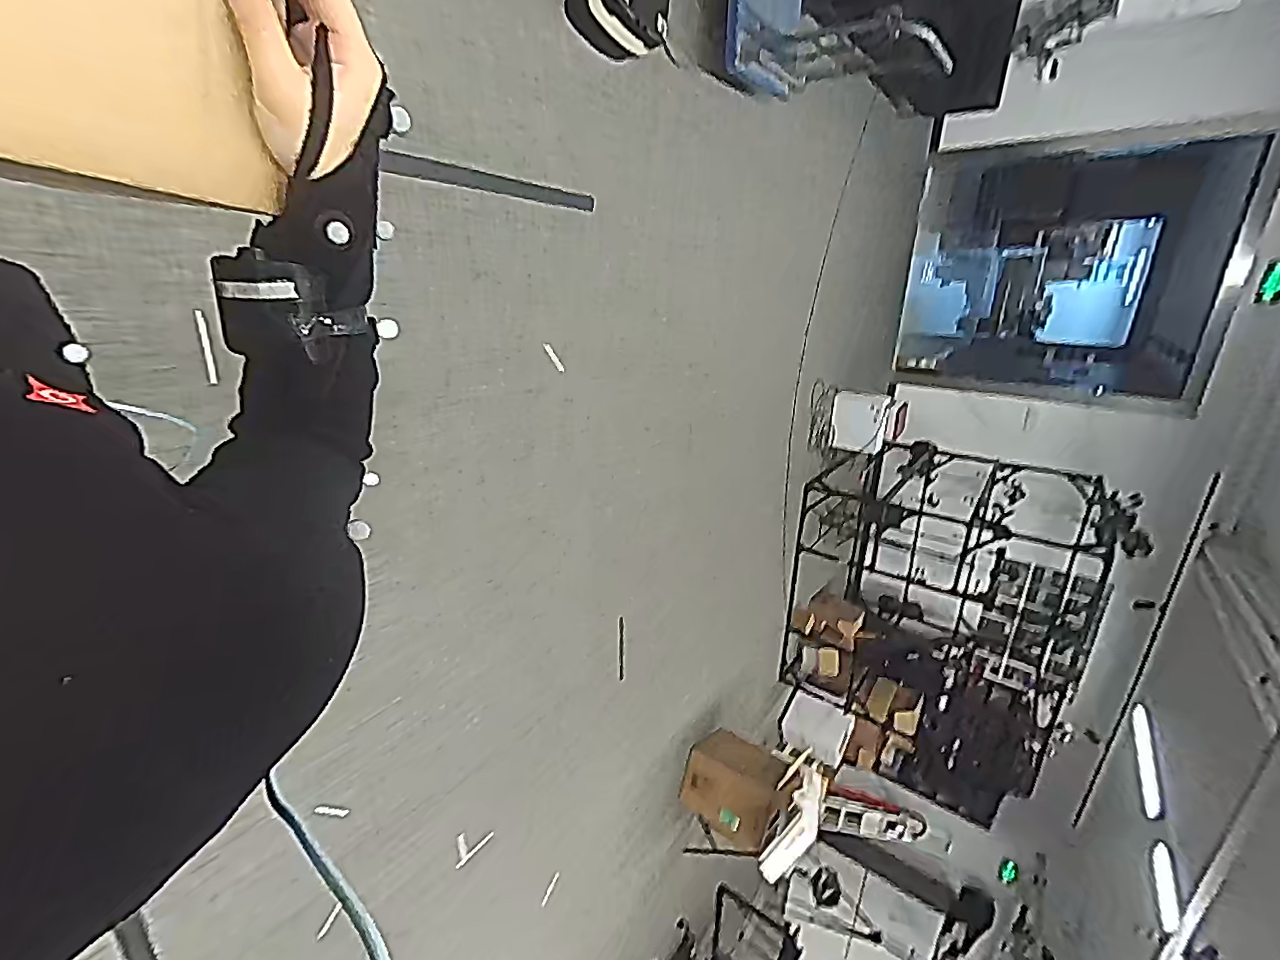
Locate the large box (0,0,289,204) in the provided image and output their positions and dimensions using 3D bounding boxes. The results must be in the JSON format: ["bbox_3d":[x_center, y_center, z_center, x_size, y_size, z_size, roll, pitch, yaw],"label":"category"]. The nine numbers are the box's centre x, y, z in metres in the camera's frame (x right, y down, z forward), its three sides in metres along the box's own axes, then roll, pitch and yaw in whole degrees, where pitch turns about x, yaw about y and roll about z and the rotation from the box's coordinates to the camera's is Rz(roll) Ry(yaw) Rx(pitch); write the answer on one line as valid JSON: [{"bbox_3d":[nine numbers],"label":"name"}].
[{"bbox_3d":[-0.416,-0.311,0.180,0.408,0.320,0.320,-20,126,-58],"label":"large box"}]
